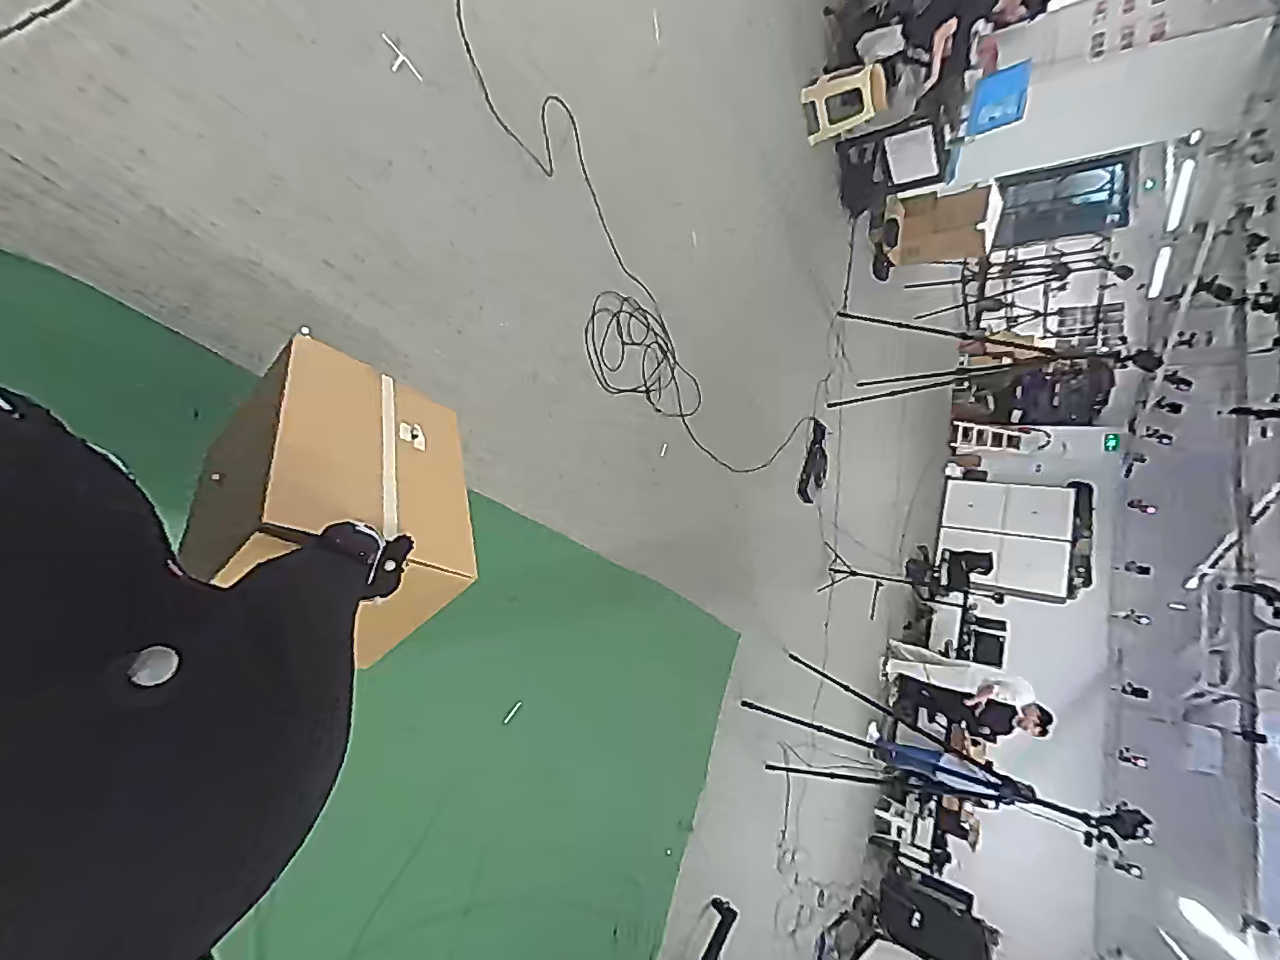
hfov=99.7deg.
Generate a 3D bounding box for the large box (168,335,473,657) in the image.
[{"bbox_3d":[-0.530,0.044,0.934,0.320,0.320,0.408,31,28,-46],"label":"large box"}]
